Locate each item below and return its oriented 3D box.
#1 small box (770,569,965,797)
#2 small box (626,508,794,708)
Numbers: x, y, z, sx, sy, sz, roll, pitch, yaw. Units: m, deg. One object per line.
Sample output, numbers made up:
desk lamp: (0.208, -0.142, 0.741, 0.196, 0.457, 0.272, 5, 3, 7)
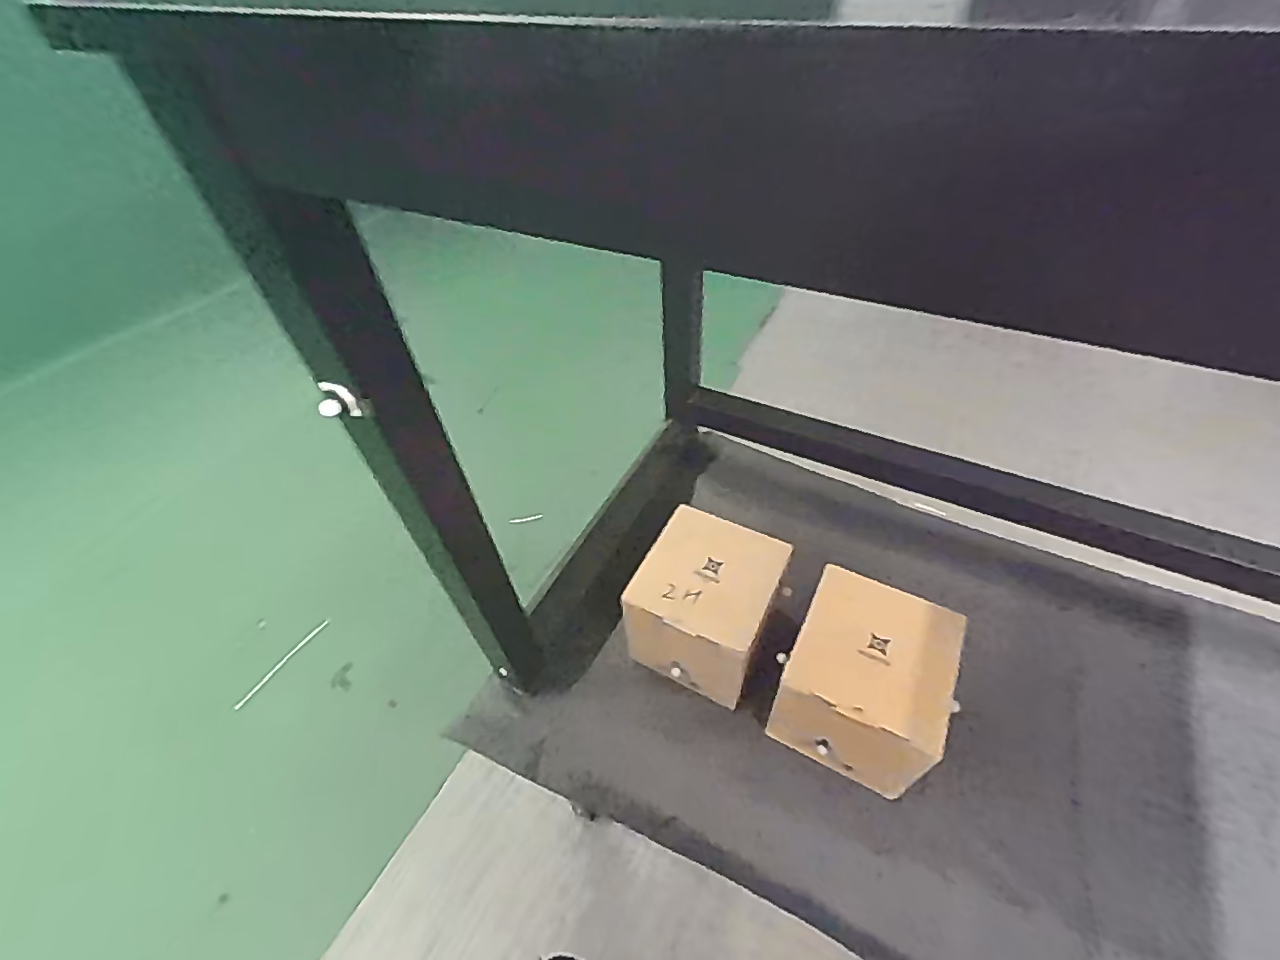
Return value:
small box: (0.272, 0.250, 0.671, 0.168, 0.176, 0.179, 21, 52, 22)
small box: (0.094, 0.176, 0.749, 0.168, 0.176, 0.179, 21, 52, 21)
